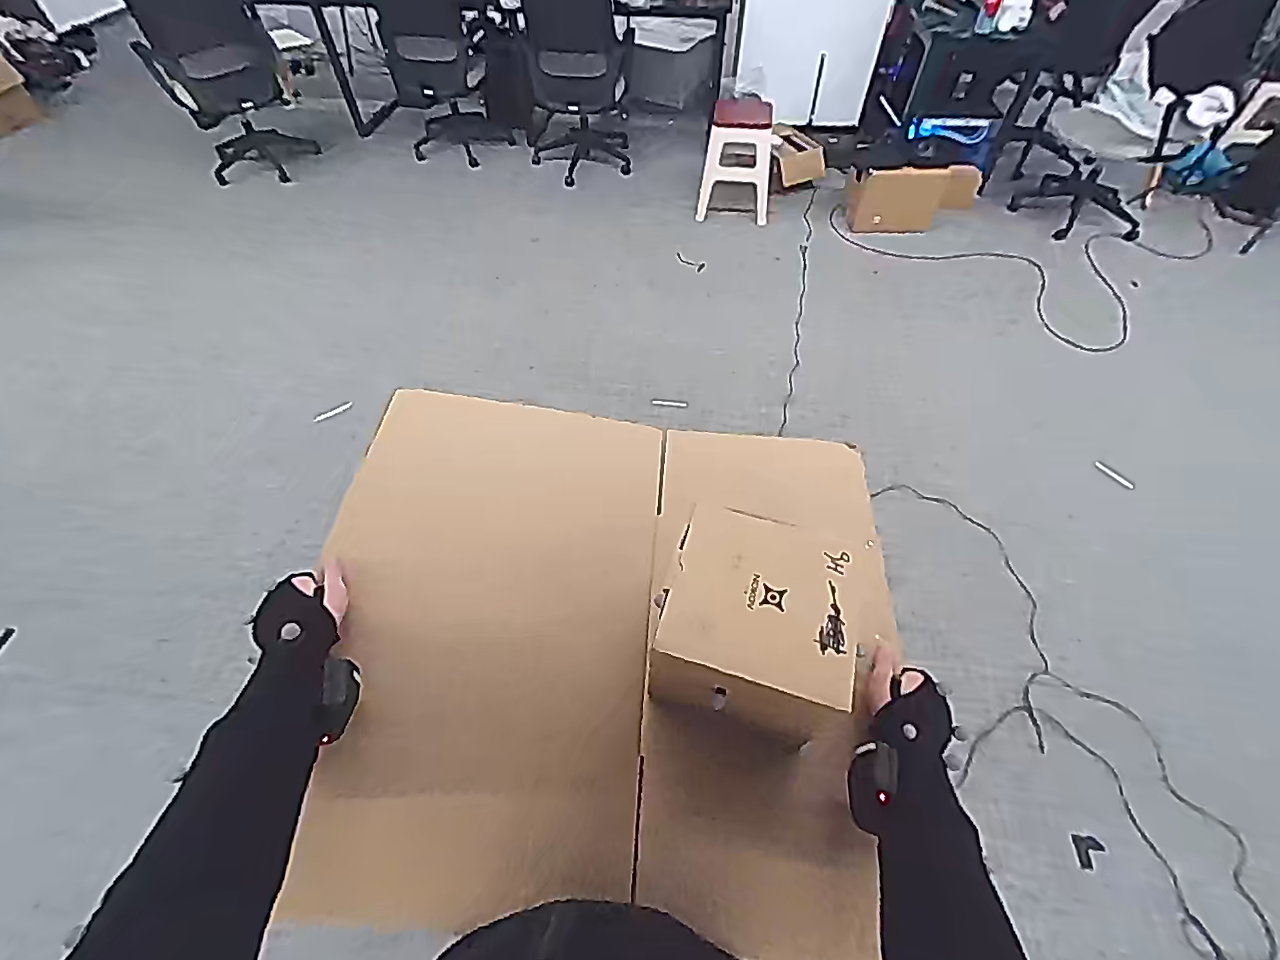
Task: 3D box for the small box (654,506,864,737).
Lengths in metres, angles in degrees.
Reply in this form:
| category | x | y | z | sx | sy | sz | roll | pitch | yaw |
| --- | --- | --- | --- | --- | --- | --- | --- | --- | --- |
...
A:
| category | x | y | z | sx | sy | sz | roll | pitch | yaw |
| --- | --- | --- | --- | --- | --- | --- | --- | --- | --- |
| small box | 0.121 | 0.156 | 0.579 | 0.179 | 0.176 | 0.168 | 14 | 56 | 11 |
